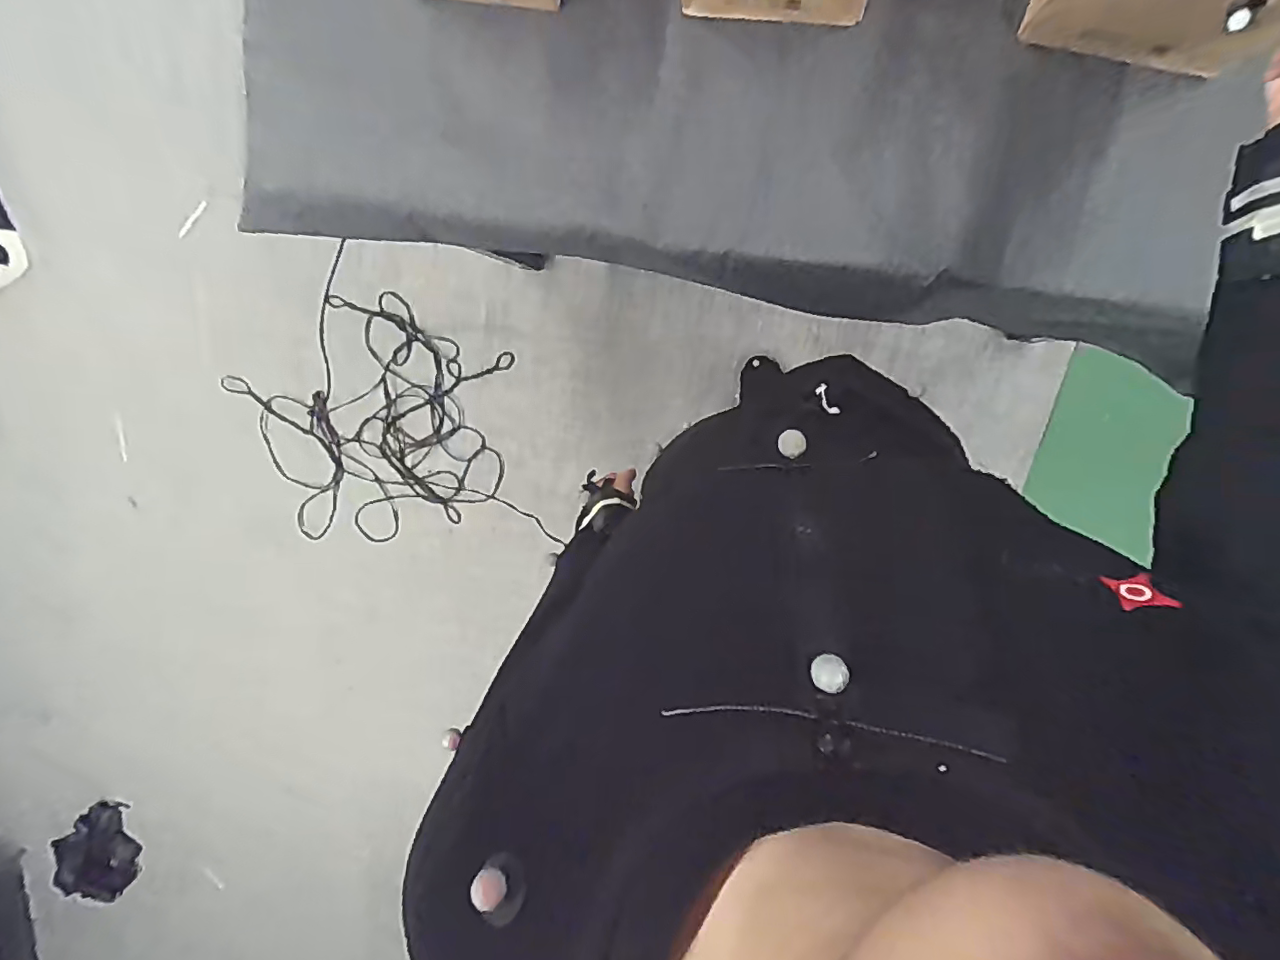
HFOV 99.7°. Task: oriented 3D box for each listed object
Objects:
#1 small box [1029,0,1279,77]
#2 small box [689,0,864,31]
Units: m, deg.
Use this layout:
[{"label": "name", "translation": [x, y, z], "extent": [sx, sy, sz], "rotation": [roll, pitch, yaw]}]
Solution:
[{"label": "small box", "translation": [0.413, -0.421, 0.368], "extent": [0.168, 0.176, 0.179], "rotation": [17, 104, 6]}, {"label": "small box", "translation": [0.119, -0.495, 0.412], "extent": [0.168, 0.176, 0.179], "rotation": [11, 105, 8]}]
